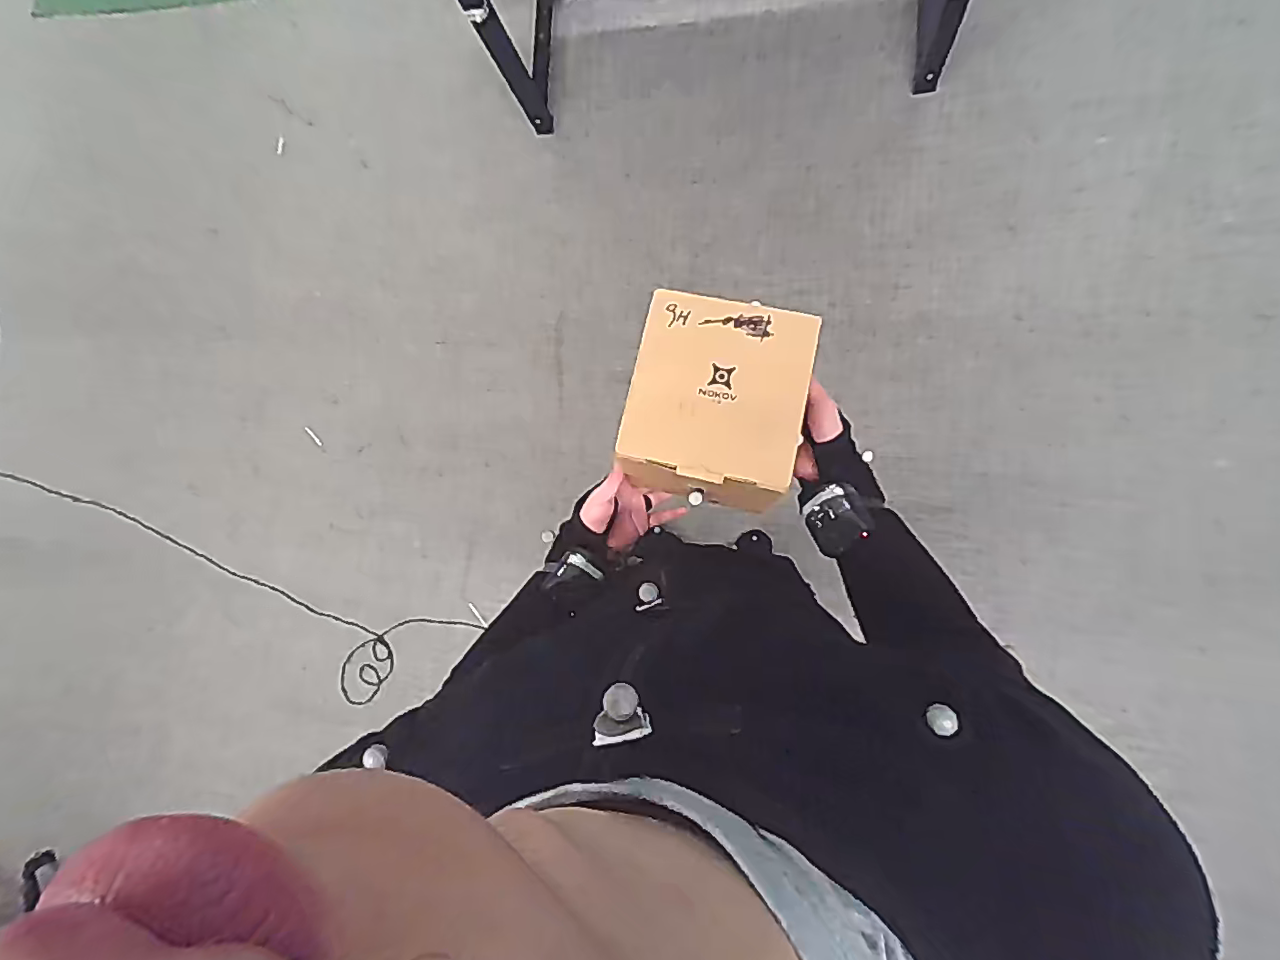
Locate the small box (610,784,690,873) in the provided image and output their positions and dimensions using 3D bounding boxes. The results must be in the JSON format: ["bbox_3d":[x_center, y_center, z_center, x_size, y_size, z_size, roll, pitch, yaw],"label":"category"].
[{"bbox_3d":[0.020,0.967,1.457,0.179,0.176,0.168,-44,78,7],"label":"small box"}]

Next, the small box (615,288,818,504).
[{"bbox_3d":[0.080,-0.078,0.593,0.168,0.176,0.179,12,82,6],"label":"small box"}]
